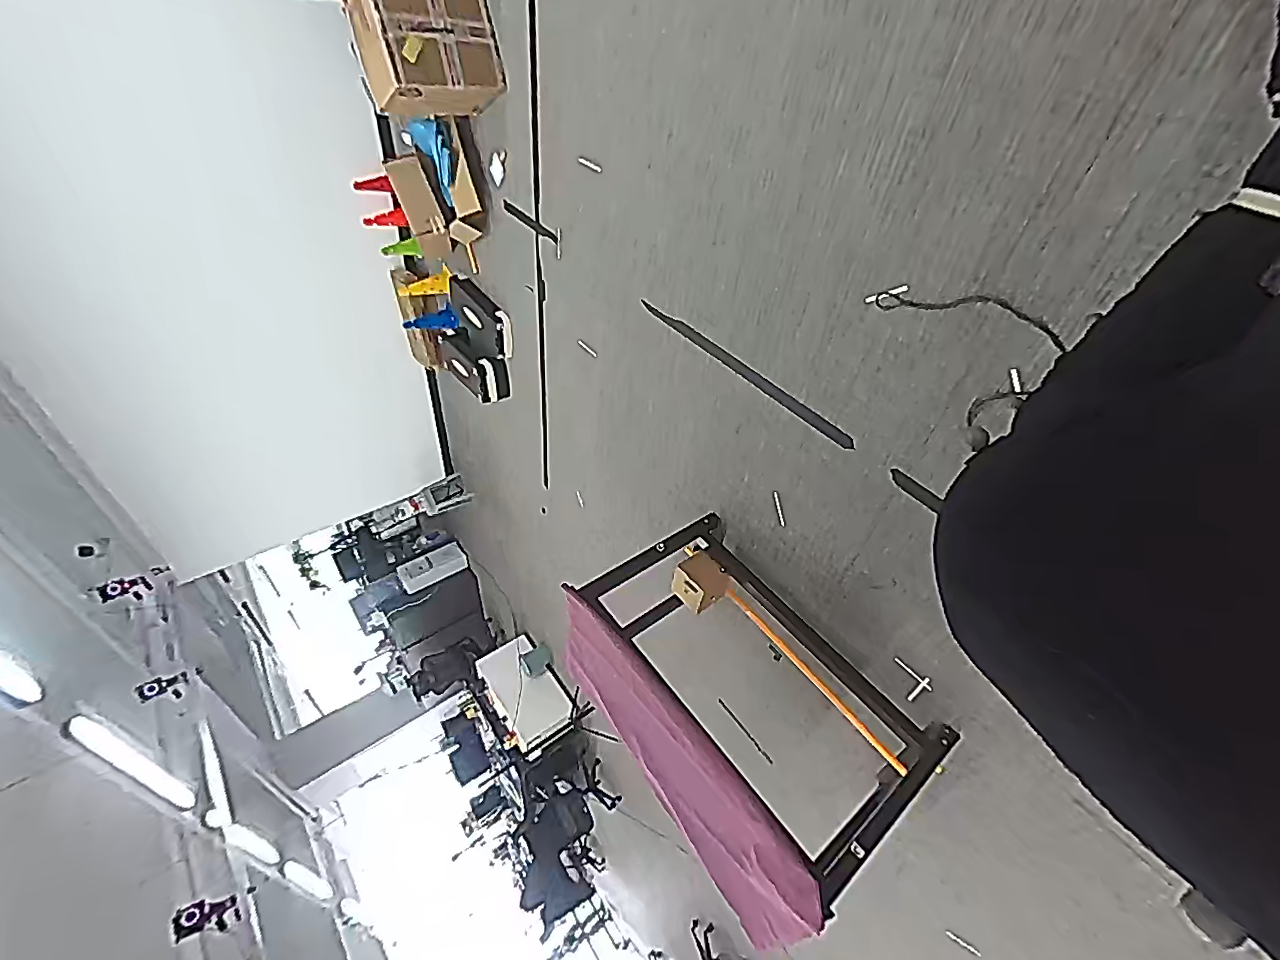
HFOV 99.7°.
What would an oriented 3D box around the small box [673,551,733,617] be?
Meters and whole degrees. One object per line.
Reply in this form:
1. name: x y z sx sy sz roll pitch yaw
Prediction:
1. small box: 0.264 0.430 2.252 0.168 0.176 0.179 43 144 31
